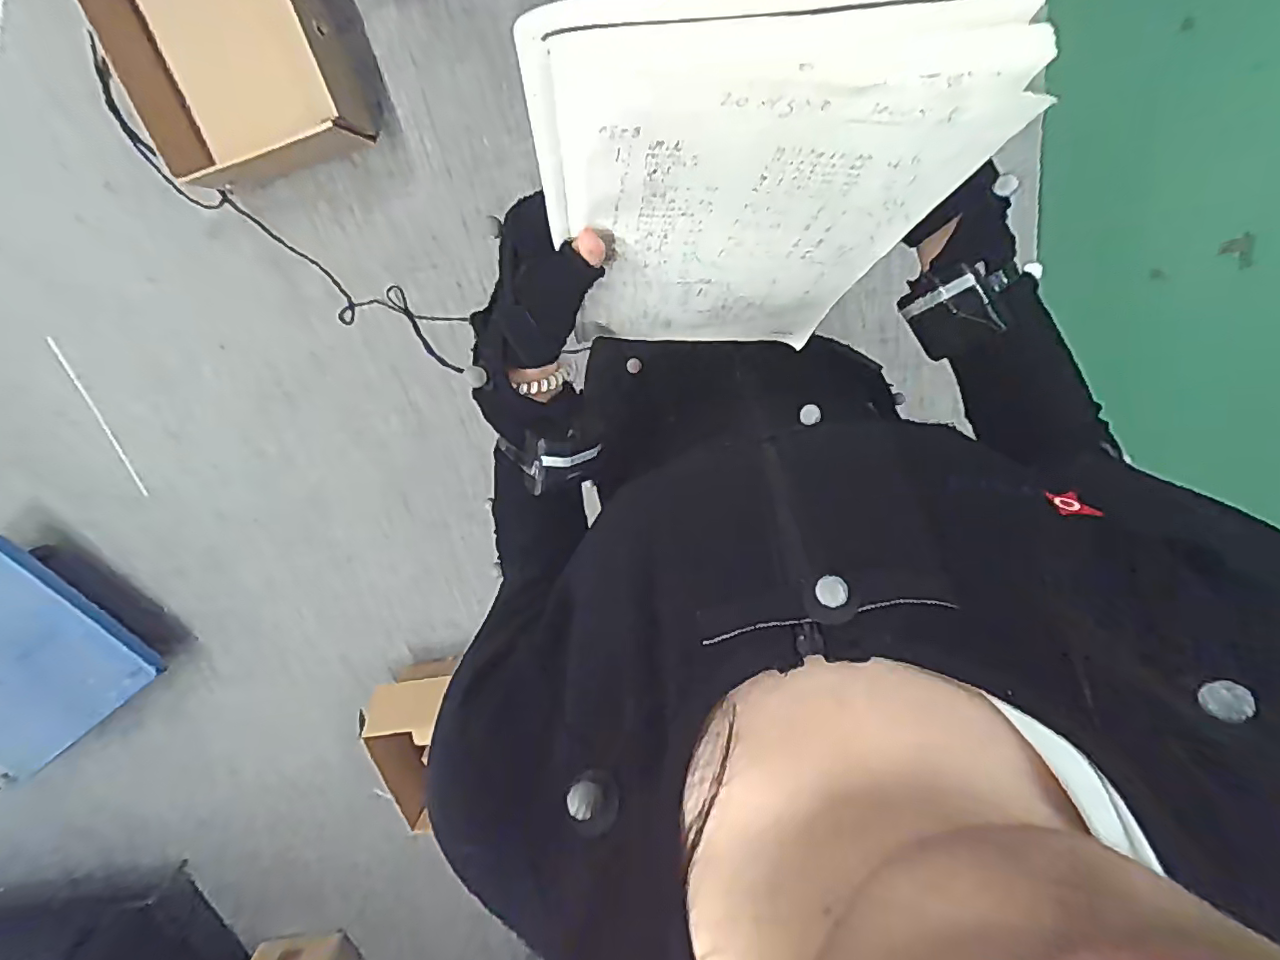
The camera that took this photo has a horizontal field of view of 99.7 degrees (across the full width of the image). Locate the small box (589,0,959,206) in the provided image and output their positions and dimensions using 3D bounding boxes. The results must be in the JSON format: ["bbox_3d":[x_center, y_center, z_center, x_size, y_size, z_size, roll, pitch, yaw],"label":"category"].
[{"bbox_3d":[0.063,-0.272,0.325,0.179,0.176,0.168,-9,120,0],"label":"small box"}]
